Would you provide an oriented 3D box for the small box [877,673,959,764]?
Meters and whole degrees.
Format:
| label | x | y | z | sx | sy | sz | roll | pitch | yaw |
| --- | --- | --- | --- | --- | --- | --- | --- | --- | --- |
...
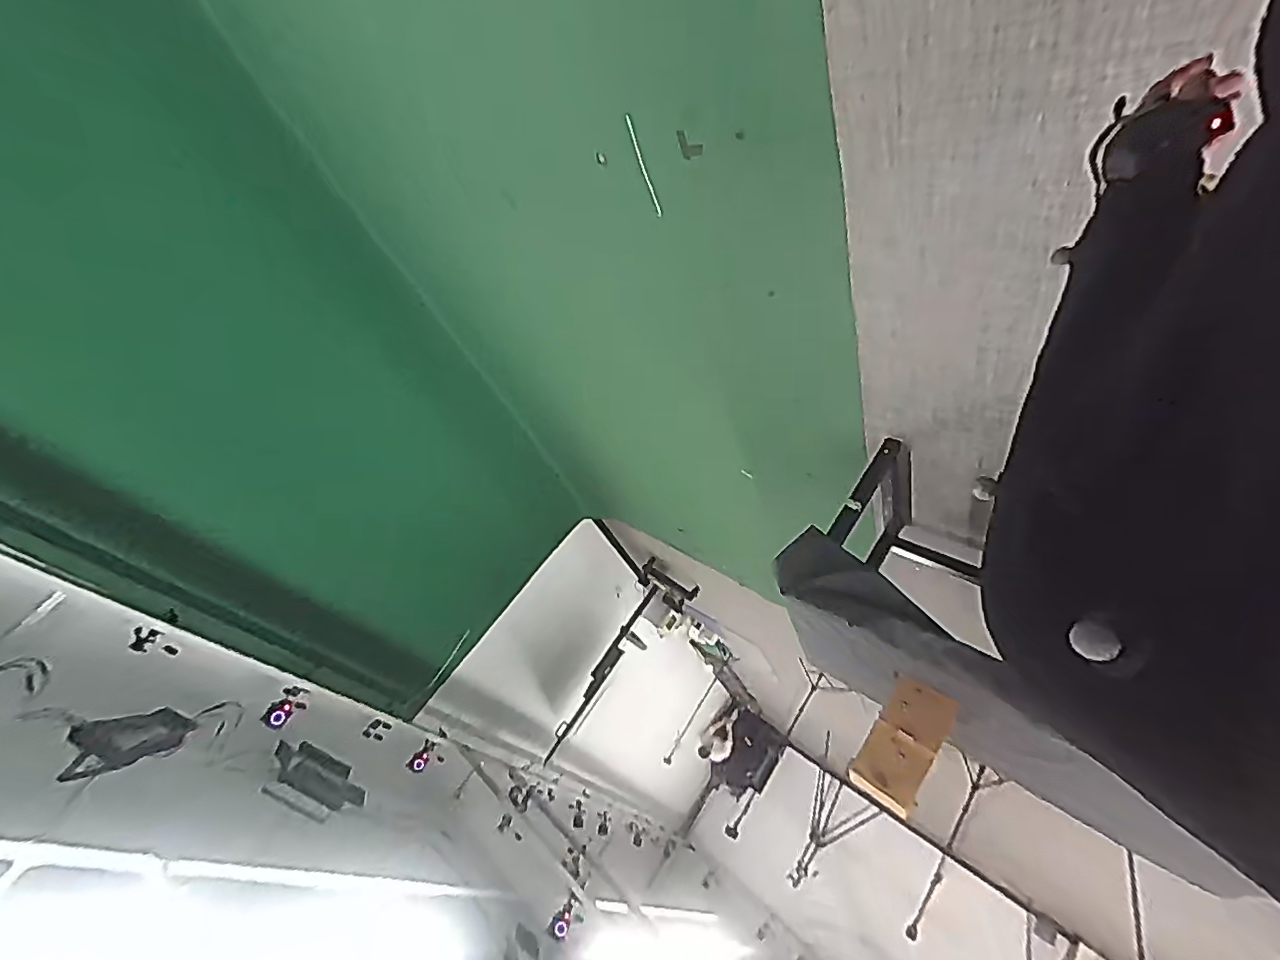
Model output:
| label | x | y | z | sx | sy | sz | roll | pitch | yaw |
| --- | --- | --- | --- | --- | --- | --- | --- | --- | --- |
| small box | 0.825 | 0.704 | 1.608 | 0.168 | 0.176 | 0.179 | 26 | 159 | 37 |

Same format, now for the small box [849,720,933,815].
| label | x | y | z | sx | sy | sz | roll | pitch | yaw |
| --- | --- | --- | --- | --- | --- | --- | --- | --- | --- |
| small box | 0.729 | 0.832 | 1.573 | 0.168 | 0.176 | 0.179 | 27 | 157 | 36 |
